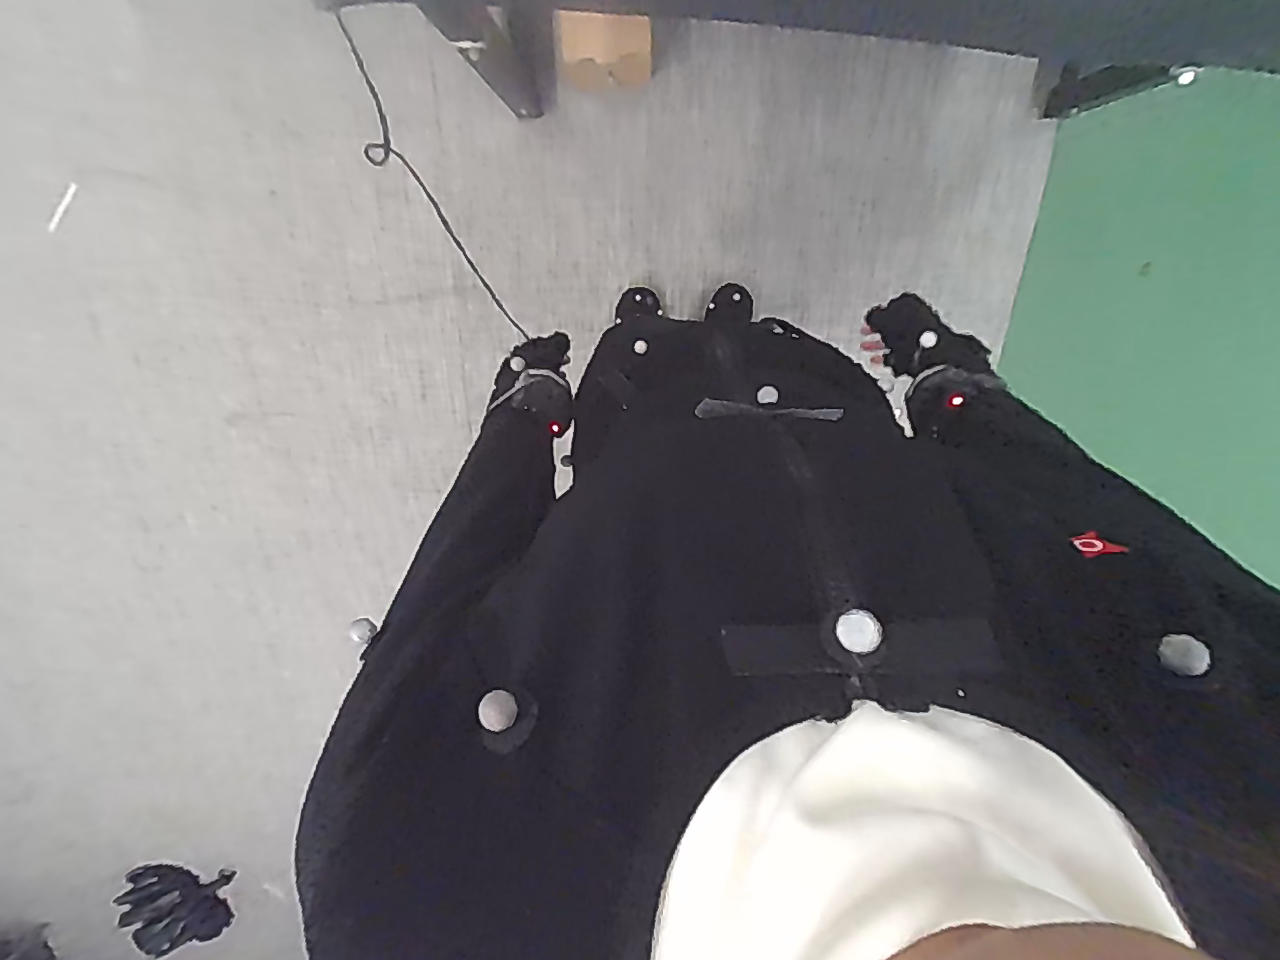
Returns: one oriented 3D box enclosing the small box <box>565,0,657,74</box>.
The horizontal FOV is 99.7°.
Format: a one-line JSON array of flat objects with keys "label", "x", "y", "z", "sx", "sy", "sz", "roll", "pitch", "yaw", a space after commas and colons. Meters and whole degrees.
[{"label": "small box", "x": -0.053, "y": -0.901, "z": 1.031, "sx": 0.168, "sy": 0.176, "sz": 0.179, "roll": -4, "pitch": 113, "yaw": 2}]
